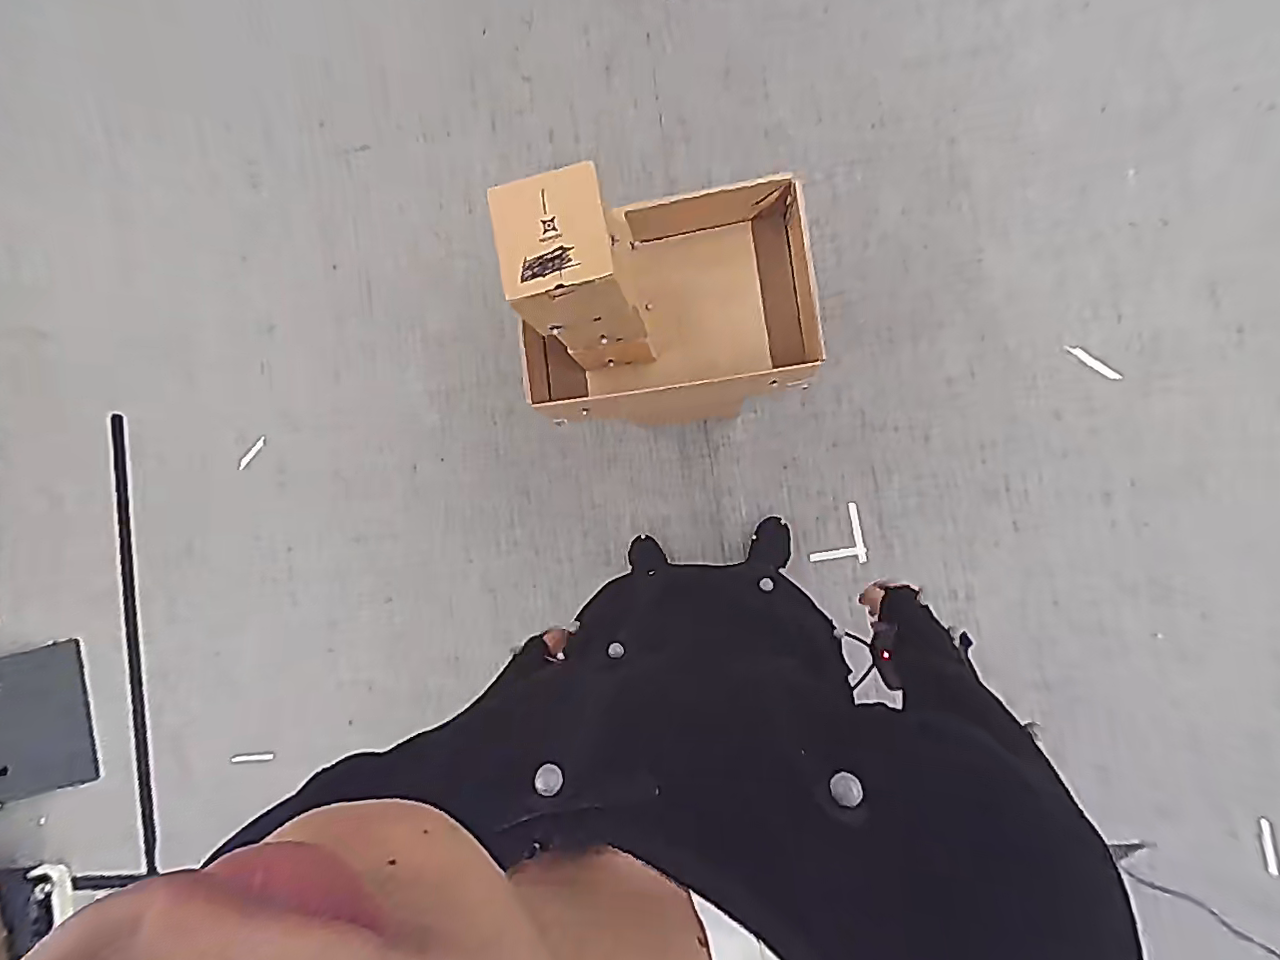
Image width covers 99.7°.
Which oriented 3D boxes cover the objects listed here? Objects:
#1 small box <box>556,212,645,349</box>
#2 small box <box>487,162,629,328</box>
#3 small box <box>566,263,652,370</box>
[{"bbox_3d":[-0.088,-0.366,1.020,0.168,0.176,0.179,-9,88,8],"label":"small box"},{"bbox_3d":[-0.120,-0.354,0.858,0.168,0.176,0.179,-11,86,7],"label":"small box"},{"bbox_3d":[-0.071,-0.356,1.183,0.168,0.176,0.179,-8,87,7],"label":"small box"}]
